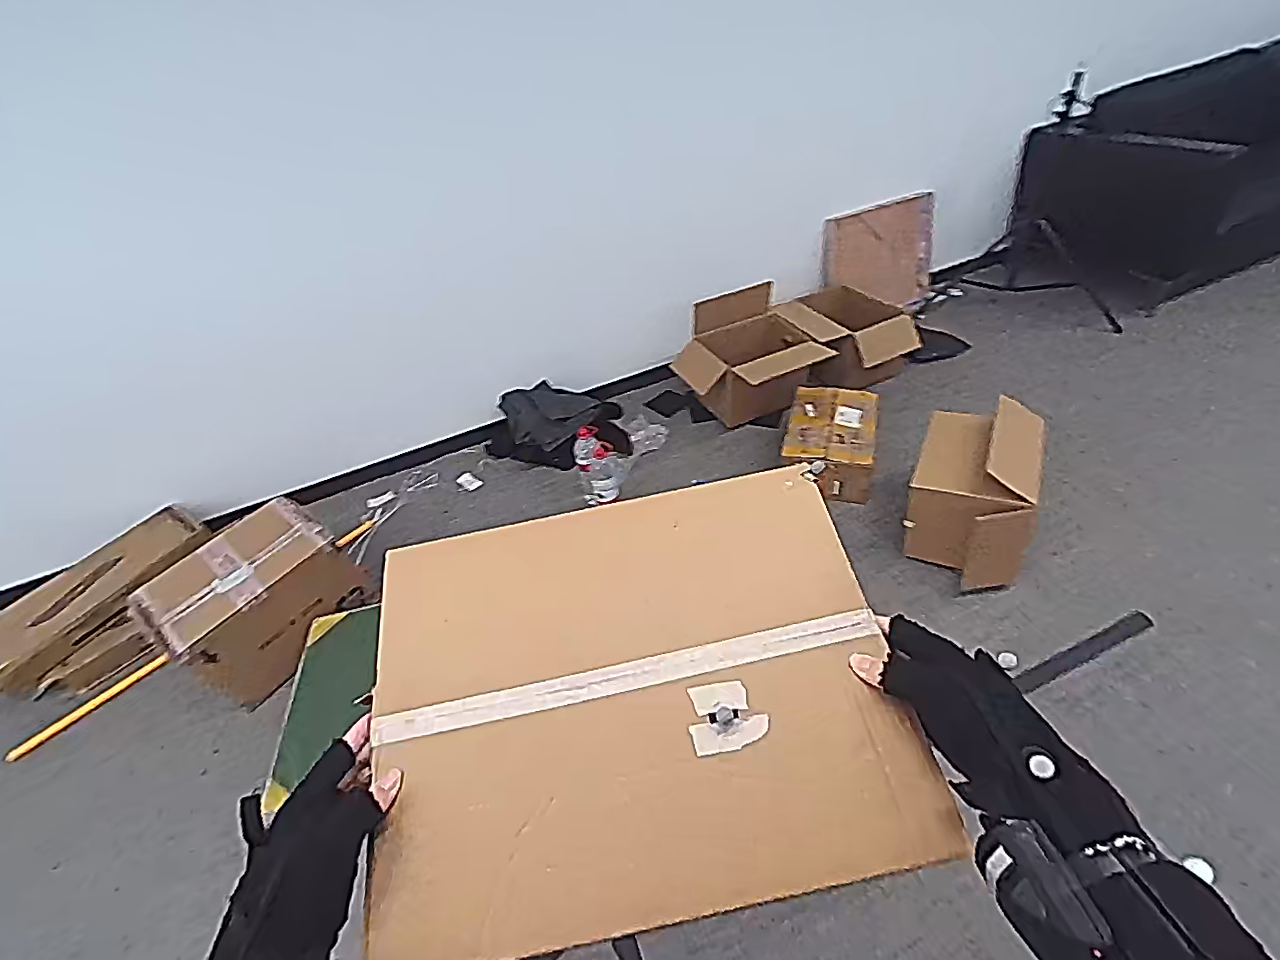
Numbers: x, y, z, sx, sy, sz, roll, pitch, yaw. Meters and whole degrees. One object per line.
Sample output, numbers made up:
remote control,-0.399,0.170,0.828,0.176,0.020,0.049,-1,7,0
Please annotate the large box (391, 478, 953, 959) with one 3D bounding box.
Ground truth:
large box,0.009,0.242,0.571,0.408,0.320,0.320,-11,59,-1
